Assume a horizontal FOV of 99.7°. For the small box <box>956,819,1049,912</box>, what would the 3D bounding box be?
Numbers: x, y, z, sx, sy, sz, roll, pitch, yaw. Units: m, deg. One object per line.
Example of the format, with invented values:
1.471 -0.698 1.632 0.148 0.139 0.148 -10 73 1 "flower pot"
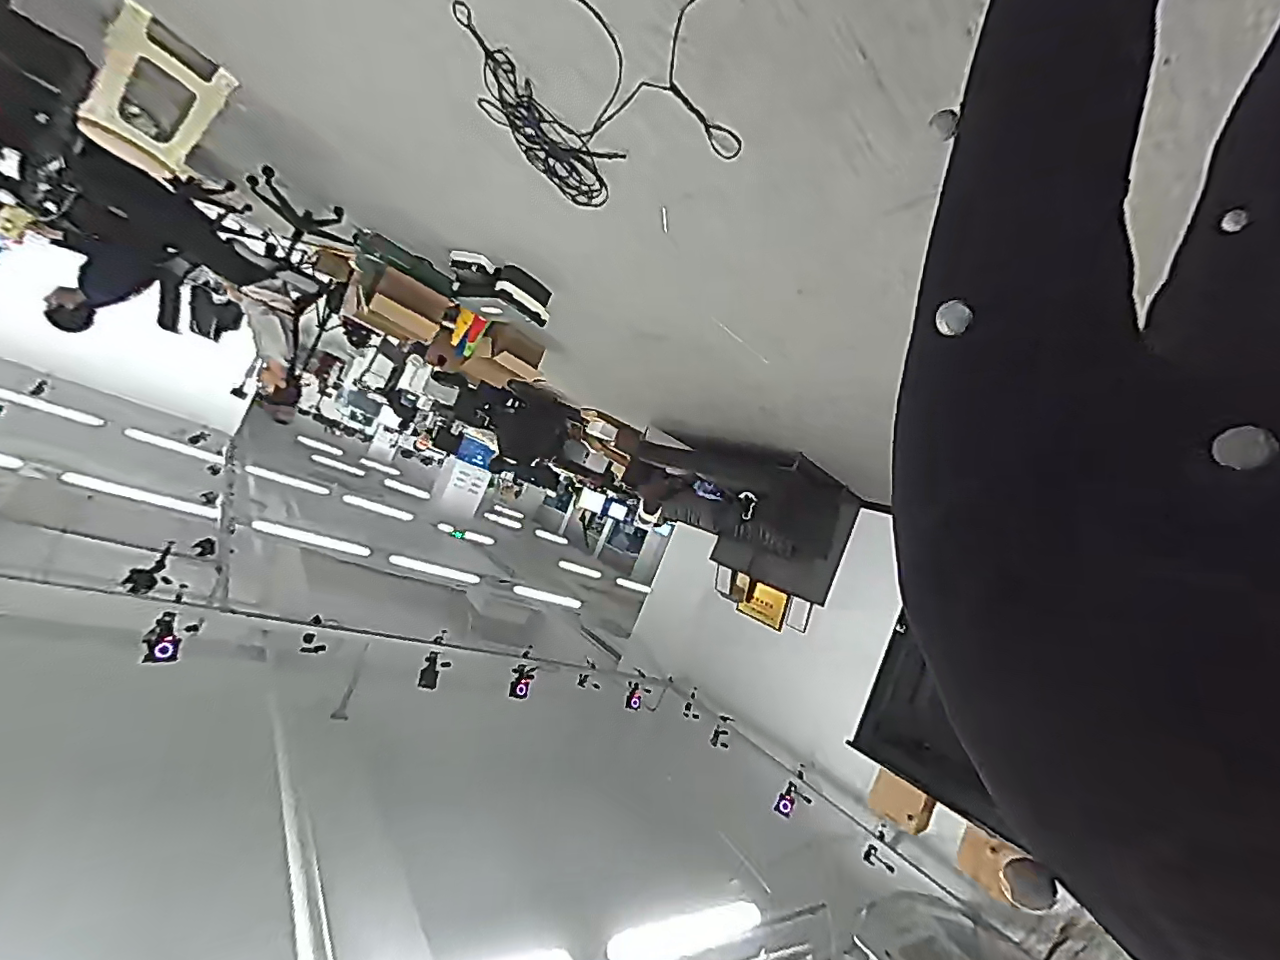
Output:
1.114 1.171 1.658 0.179 0.176 0.168 26 174 -33 "small box"
